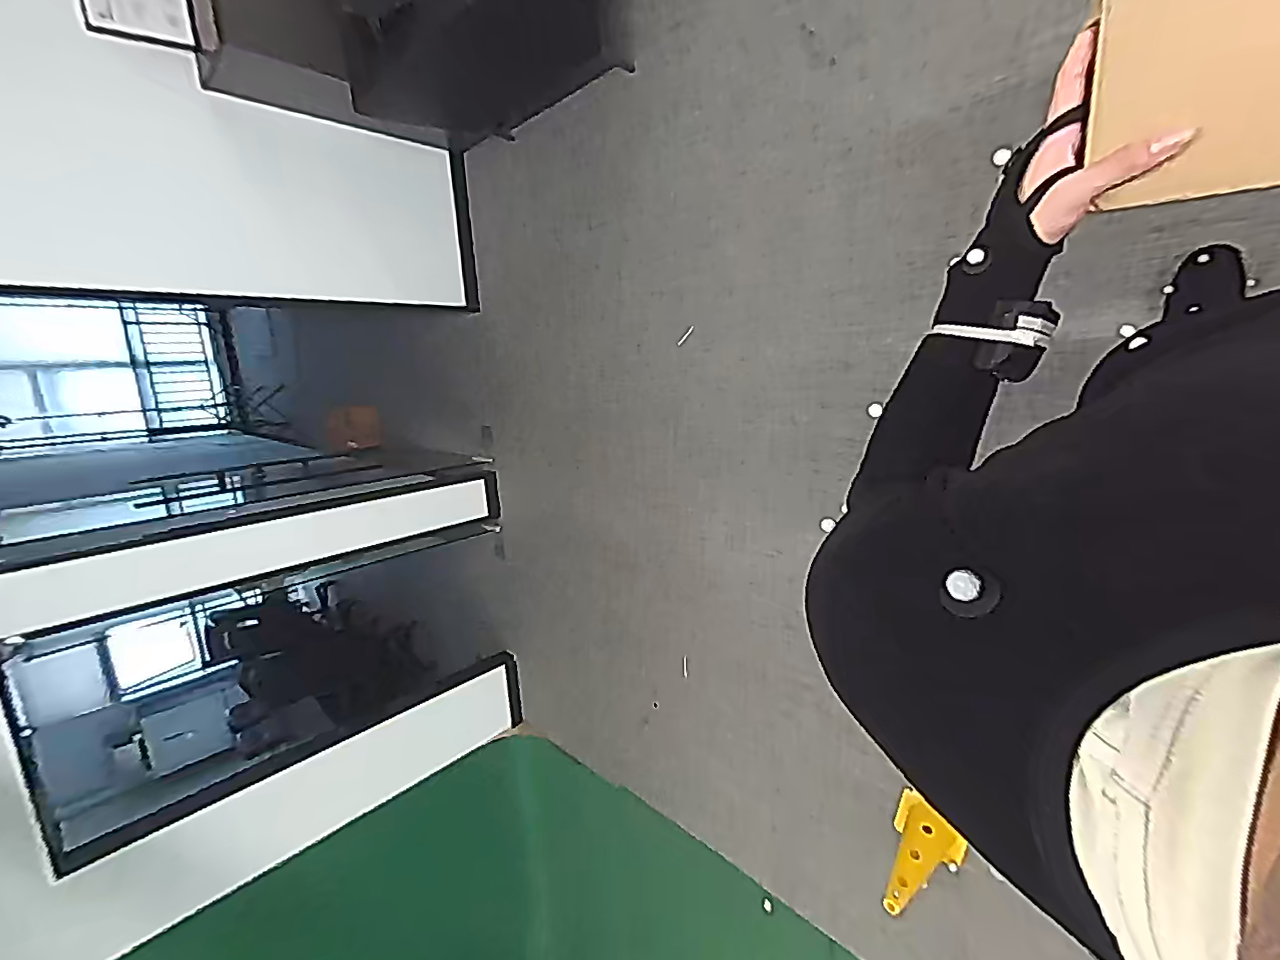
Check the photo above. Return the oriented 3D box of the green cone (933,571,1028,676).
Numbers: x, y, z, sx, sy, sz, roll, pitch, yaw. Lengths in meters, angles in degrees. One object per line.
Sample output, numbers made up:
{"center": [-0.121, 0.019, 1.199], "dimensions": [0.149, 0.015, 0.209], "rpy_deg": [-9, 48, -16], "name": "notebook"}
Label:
{"center": [0.831, 0.402, 1.394], "dimensions": [0.200, 0.368, 0.202], "rpy_deg": [17, 113, 42], "name": "green cone"}
